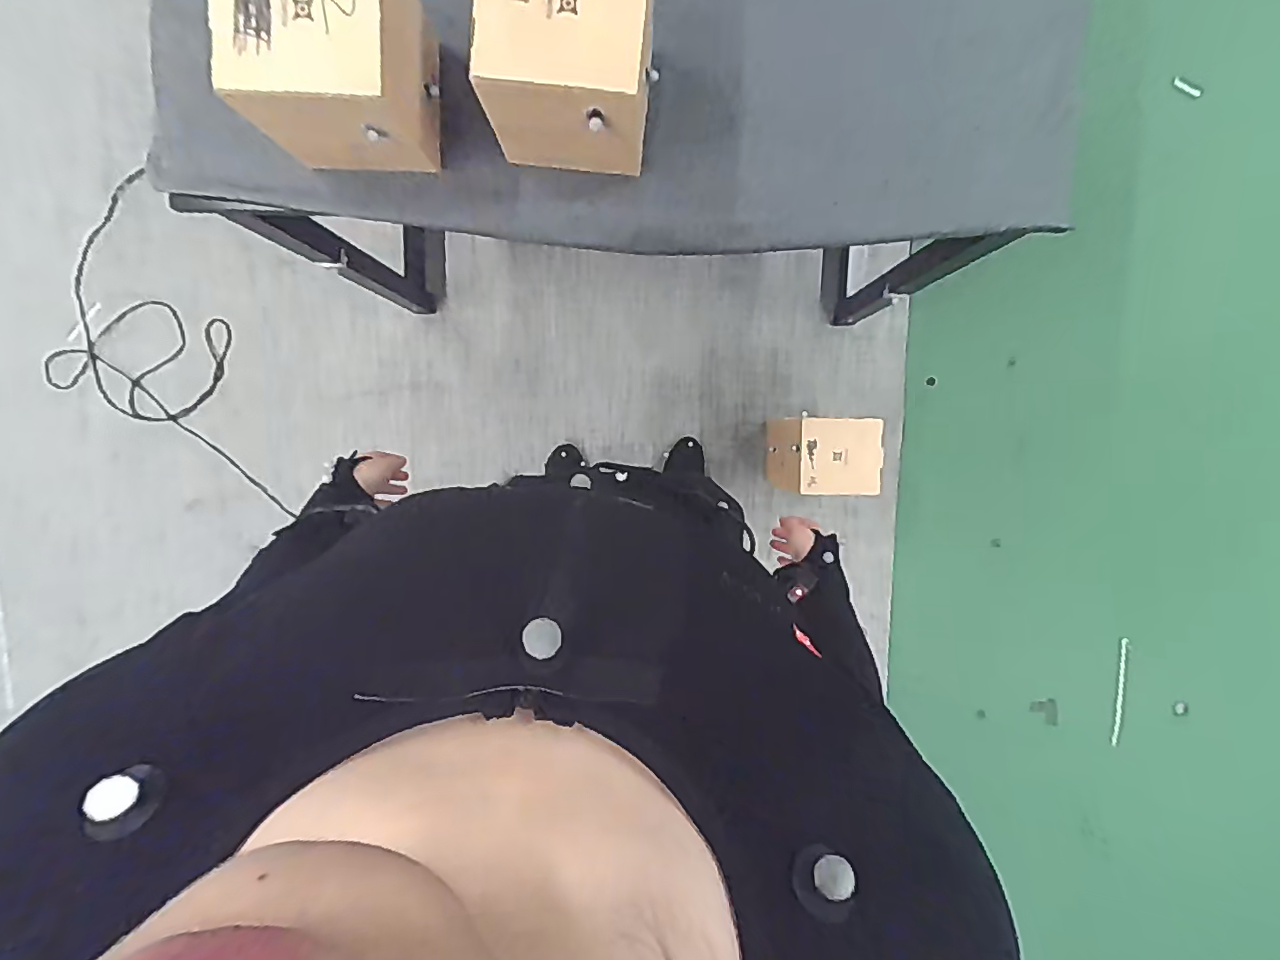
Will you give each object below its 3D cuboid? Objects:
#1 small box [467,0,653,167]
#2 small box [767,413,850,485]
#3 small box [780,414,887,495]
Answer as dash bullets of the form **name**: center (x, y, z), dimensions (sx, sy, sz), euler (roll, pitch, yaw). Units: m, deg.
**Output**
- **small box**: center (-0.078, -0.487, 0.619), dimensions (0.179, 0.176, 0.168), euler (7, 94, 1)
- **small box**: center (0.427, -0.082, 1.387), dimensions (0.168, 0.176, 0.179), euler (0, 95, 1)
- **small box**: center (0.429, -0.063, 1.223), dimensions (0.179, 0.176, 0.168), euler (2, 97, 0)
